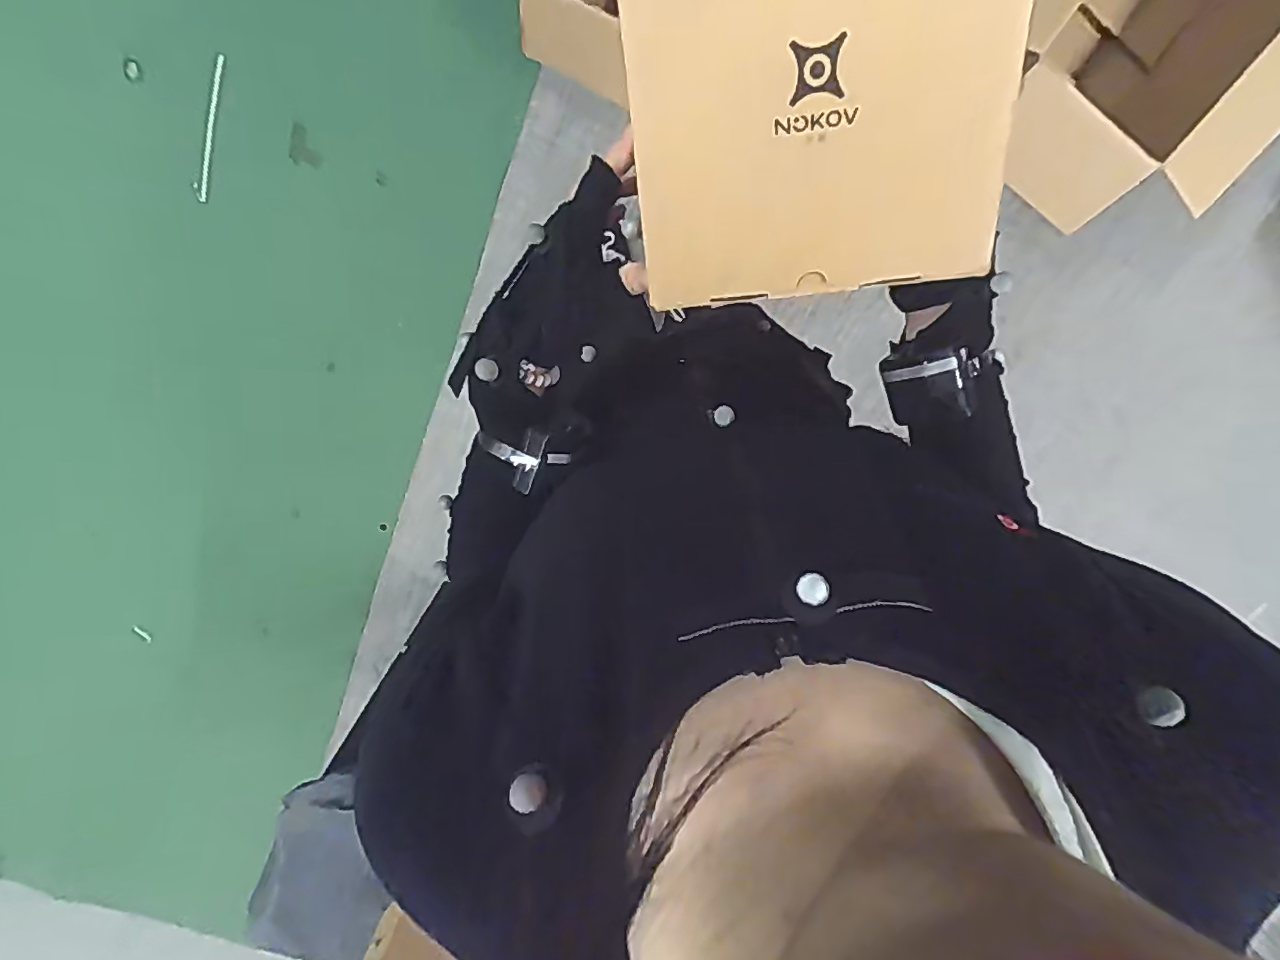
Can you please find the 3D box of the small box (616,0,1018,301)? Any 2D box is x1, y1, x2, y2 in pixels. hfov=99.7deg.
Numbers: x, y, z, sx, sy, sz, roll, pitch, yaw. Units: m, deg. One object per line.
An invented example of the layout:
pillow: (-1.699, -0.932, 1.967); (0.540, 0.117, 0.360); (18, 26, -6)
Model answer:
small box: (0.083, -0.213, 0.309); (0.168, 0.176, 0.179); (-4, 118, 10)
